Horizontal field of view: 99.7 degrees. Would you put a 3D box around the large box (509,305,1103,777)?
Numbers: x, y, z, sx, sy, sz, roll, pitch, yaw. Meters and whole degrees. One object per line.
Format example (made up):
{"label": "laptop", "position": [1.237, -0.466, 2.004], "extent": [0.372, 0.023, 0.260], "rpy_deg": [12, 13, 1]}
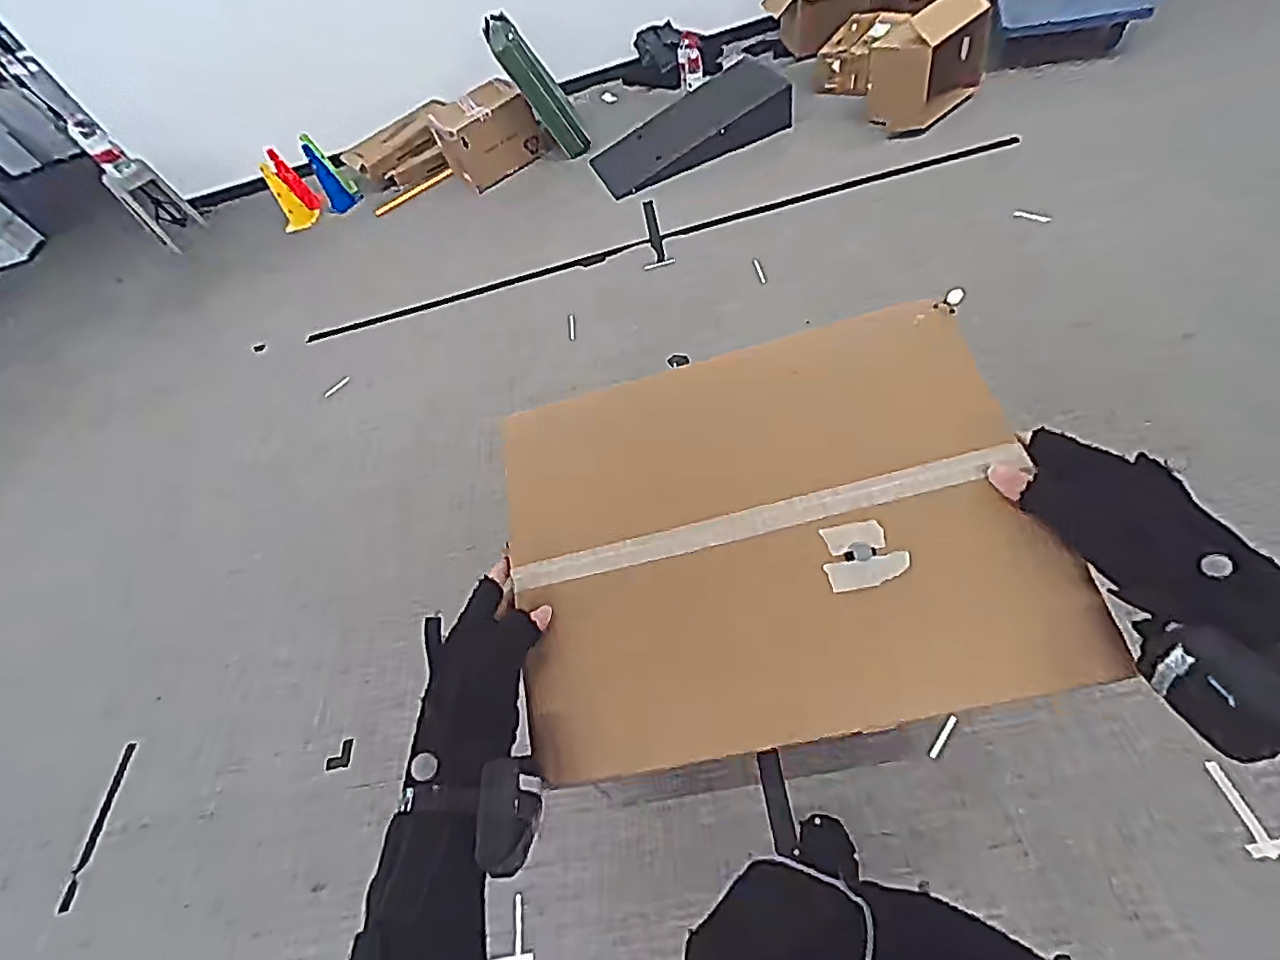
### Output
{"label": "large box", "position": [0.121, 0.086, 0.575], "extent": [0.408, 0.320, 0.320], "rpy_deg": [-15, 68, 7]}
